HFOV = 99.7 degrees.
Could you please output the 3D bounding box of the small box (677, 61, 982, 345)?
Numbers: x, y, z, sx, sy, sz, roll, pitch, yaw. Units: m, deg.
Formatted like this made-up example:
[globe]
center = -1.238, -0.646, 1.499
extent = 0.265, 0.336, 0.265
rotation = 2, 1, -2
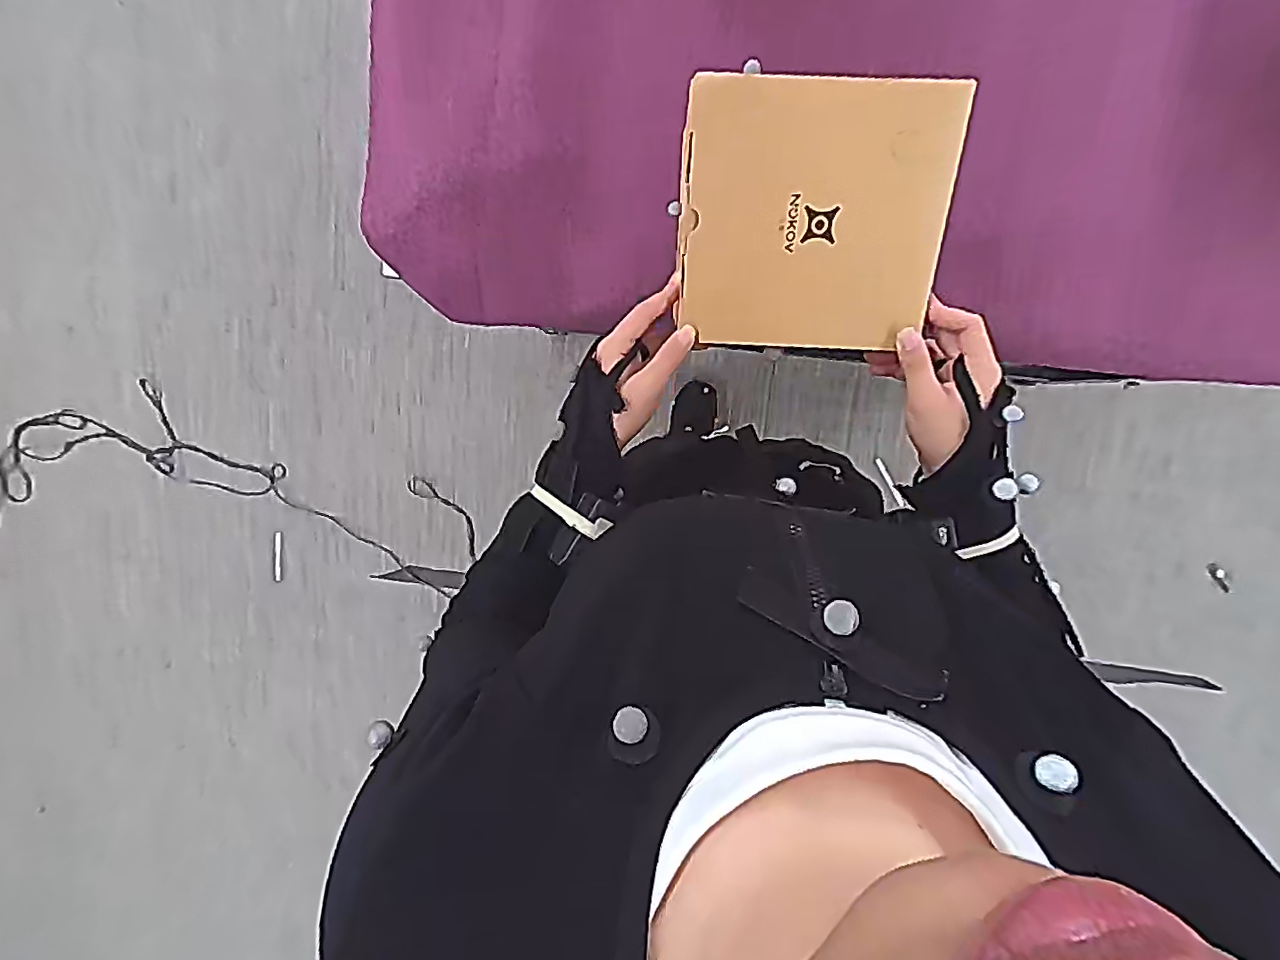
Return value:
[small box]
center = 0.123, -0.207, 0.433
extent = 0.179, 0.176, 0.168
rotation = 3, 112, 3
